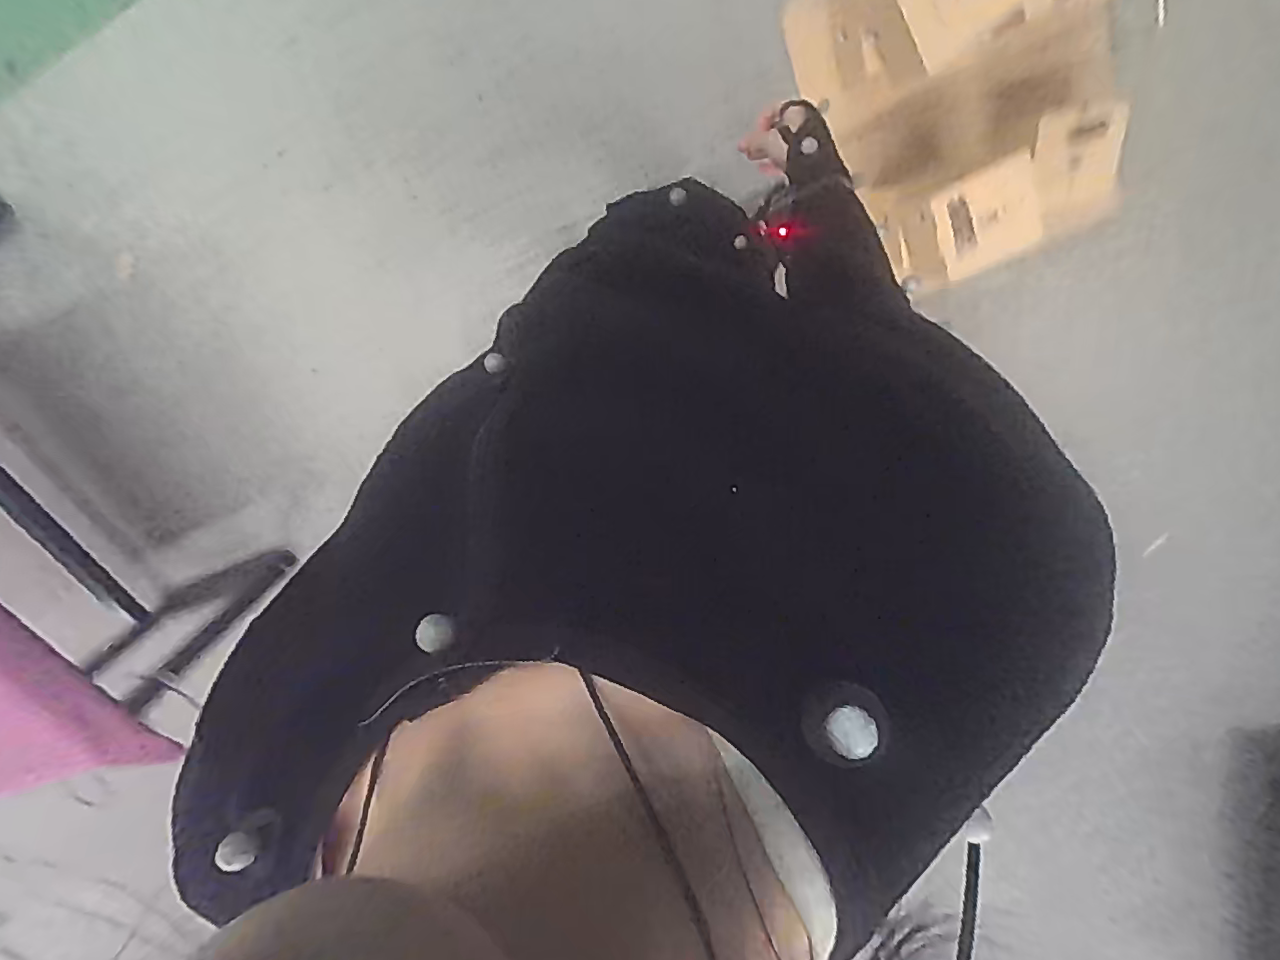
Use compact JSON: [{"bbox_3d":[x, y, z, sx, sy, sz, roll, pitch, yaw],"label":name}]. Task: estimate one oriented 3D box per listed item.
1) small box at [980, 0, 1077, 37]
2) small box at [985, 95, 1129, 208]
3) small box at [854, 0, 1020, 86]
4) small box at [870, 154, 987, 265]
[{"bbox_3d":[0.743,-0.971,0.998,0.168,0.176,0.179,-15,115,9],"label":"small box"},{"bbox_3d":[0.860,-0.682,1.138,0.168,0.176,0.179,-7,118,5],"label":"small box"},{"bbox_3d":[0.494,-0.810,0.904,0.179,0.176,0.168,-33,111,17],"label":"small box"},{"bbox_3d":[0.627,-0.591,1.194,0.179,0.176,0.168,-18,115,10],"label":"small box"}]
